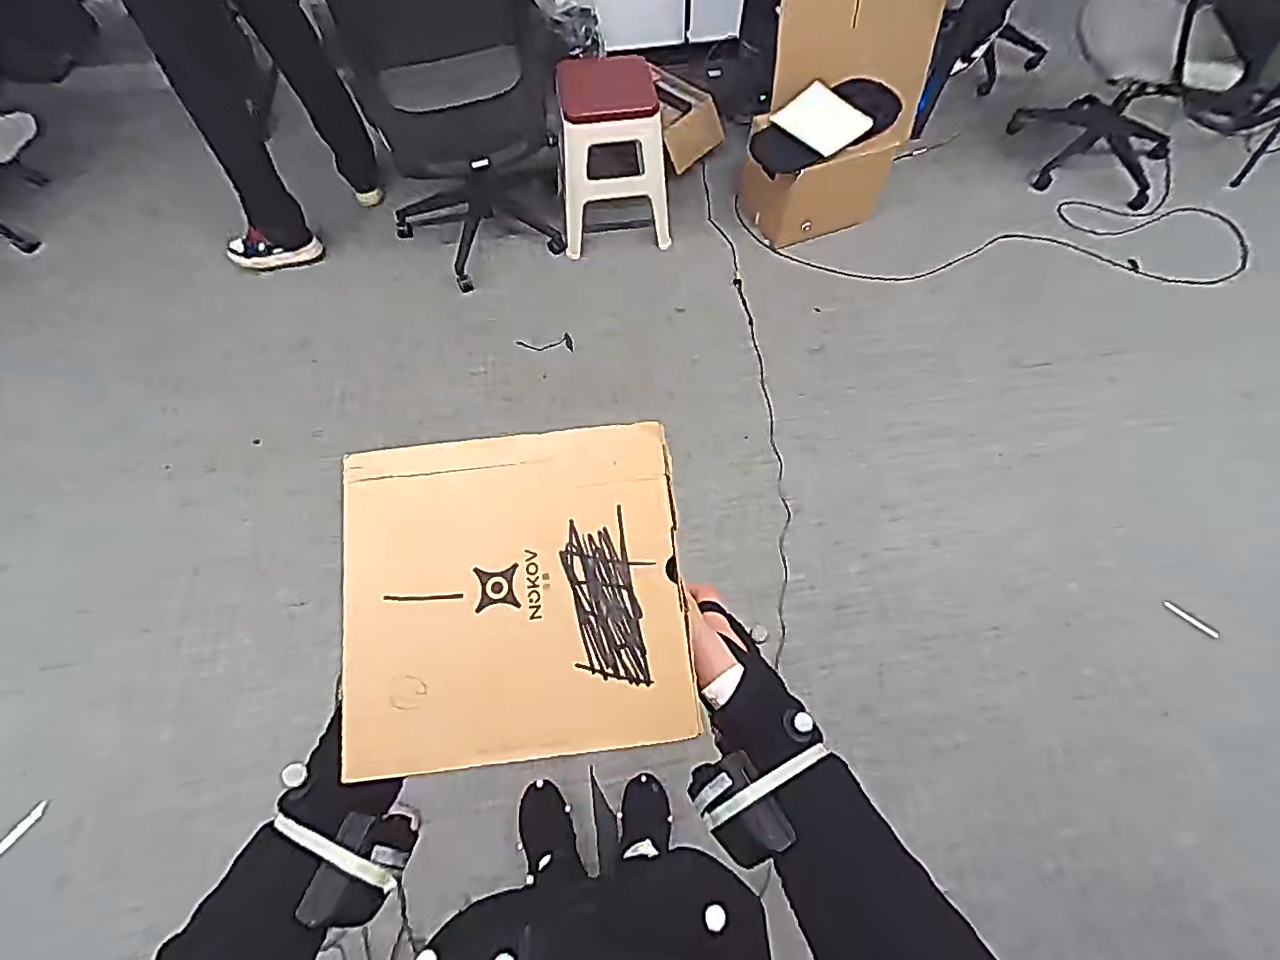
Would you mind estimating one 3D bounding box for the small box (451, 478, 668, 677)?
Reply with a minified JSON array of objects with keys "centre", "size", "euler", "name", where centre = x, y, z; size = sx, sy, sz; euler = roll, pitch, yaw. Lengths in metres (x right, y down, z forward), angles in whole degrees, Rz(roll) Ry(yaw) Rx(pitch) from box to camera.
[{"centre":[-0.063,0.098,0.525],"size":[0.179,0.176,0.168],"euler":[-1,76,0],"name":"small box"}]
